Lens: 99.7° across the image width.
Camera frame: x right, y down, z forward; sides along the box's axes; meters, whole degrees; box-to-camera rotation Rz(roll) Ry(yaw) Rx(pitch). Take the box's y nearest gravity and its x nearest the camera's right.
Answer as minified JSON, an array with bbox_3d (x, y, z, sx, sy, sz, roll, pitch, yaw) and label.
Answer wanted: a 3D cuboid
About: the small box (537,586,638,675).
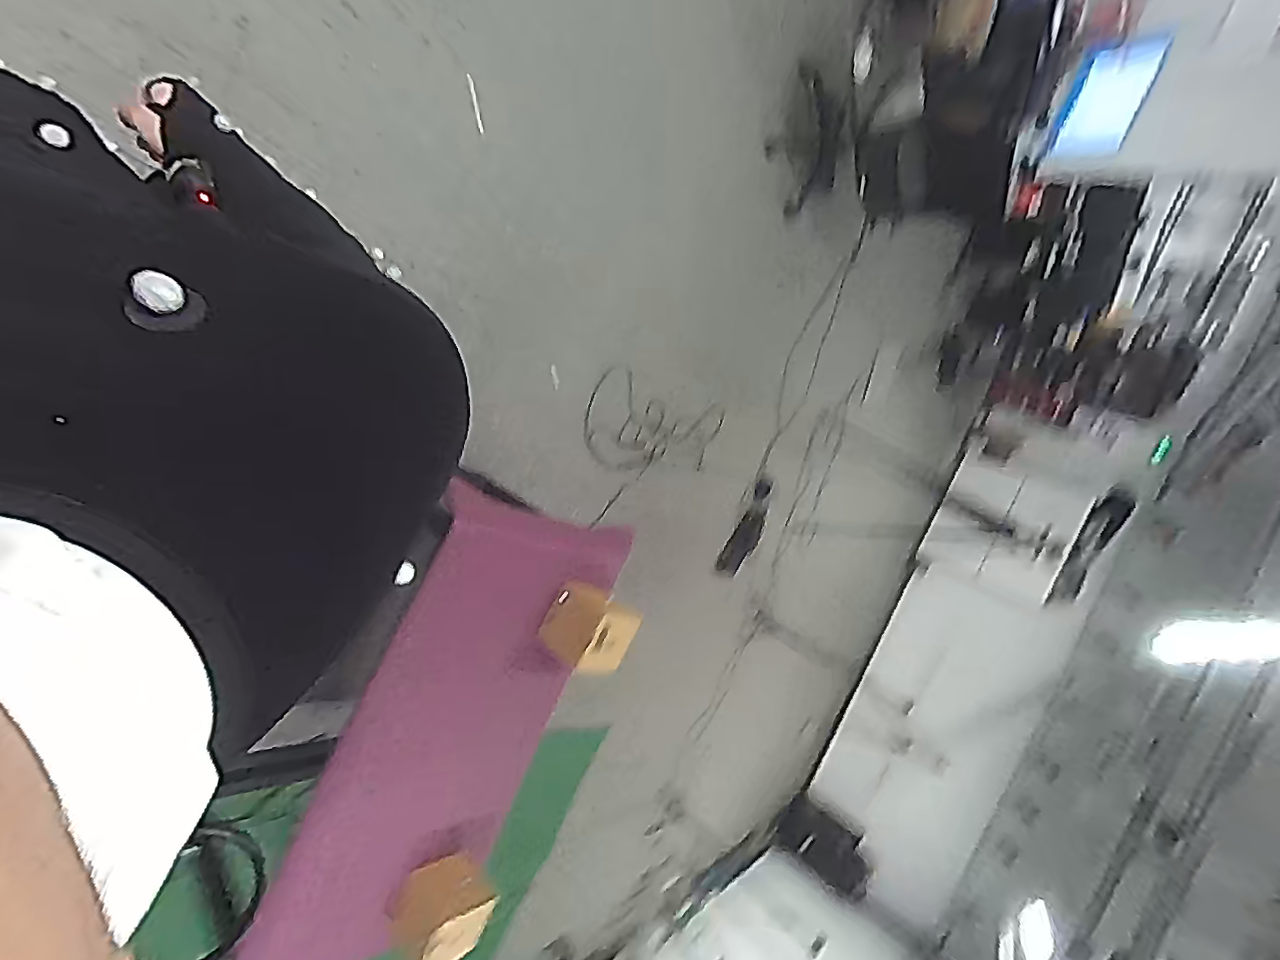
[{"bbox_3d":[-0.145,0.403,1.455,0.179,0.176,0.168,29,88,-53],"label":"small box"}]

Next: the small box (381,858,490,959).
[{"bbox_3d":[-0.538,1.144,1.421,0.179,0.176,0.168,24,90,-54],"label":"small box"}]
